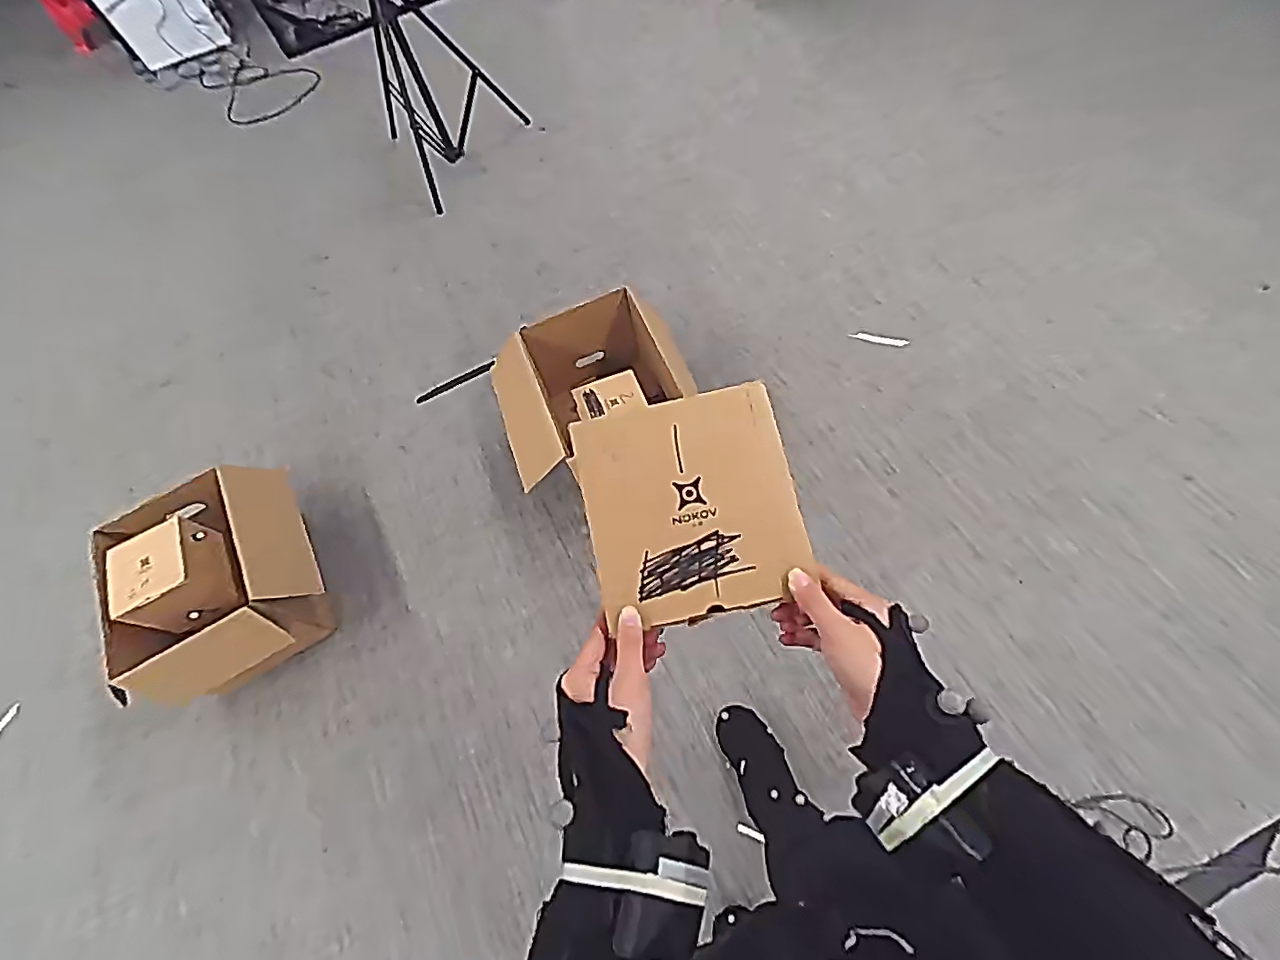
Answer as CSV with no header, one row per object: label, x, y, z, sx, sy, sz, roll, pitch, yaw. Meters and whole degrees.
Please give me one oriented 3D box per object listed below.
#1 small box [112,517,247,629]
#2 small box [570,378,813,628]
small box,-1.049,0.219,1.240,0.168,0.176,0.179,-29,65,-5
small box,0.042,0.030,0.505,0.168,0.176,0.179,-12,77,0
